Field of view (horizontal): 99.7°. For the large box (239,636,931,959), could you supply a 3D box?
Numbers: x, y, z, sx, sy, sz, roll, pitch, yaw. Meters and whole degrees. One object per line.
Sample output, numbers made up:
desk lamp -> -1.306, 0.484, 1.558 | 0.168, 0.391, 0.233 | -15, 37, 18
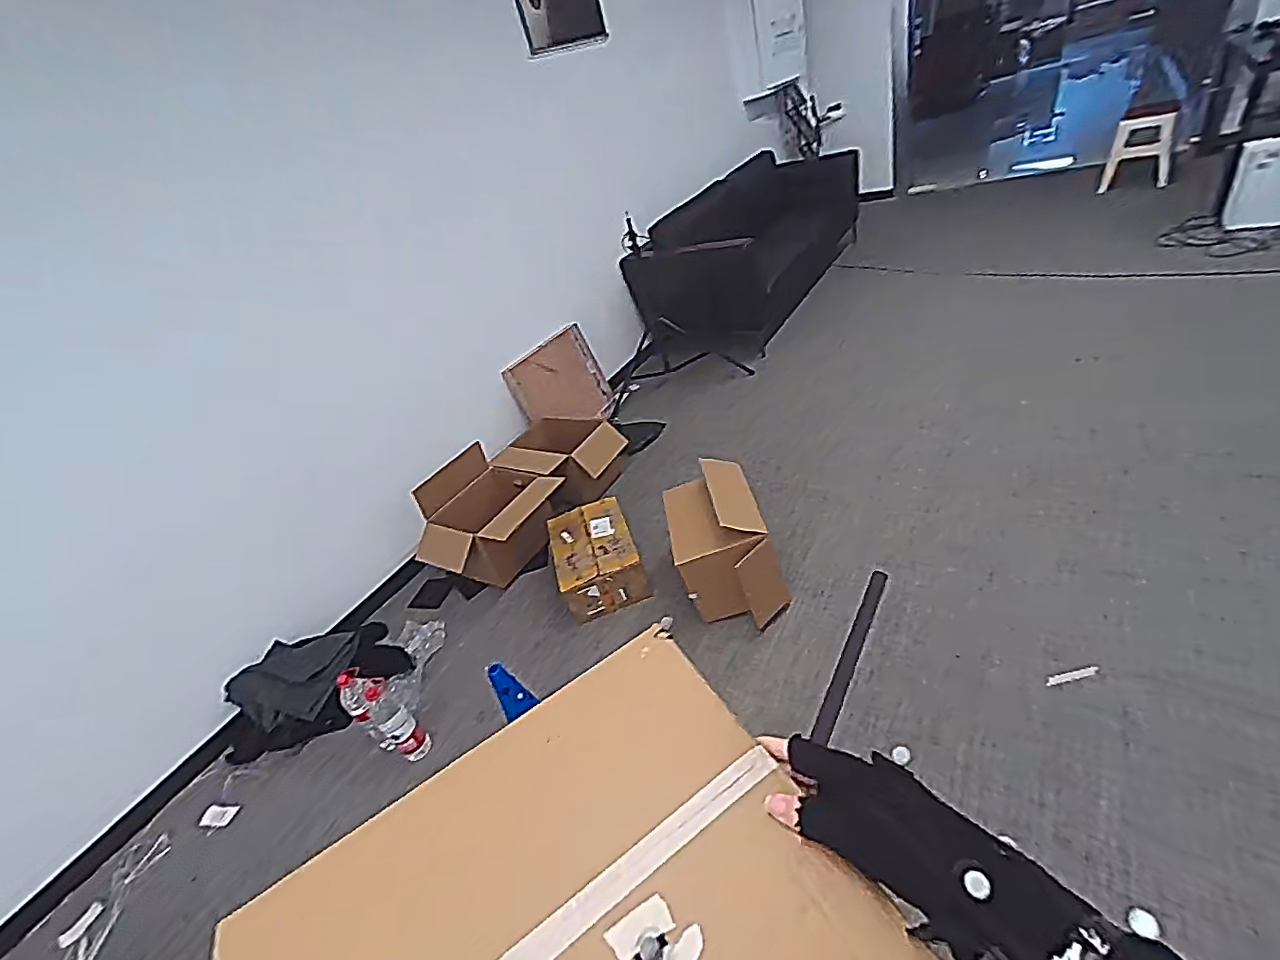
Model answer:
large box -> -0.034, 0.429, 0.458 | 0.408, 0.320, 0.320 | -30, 42, -18
